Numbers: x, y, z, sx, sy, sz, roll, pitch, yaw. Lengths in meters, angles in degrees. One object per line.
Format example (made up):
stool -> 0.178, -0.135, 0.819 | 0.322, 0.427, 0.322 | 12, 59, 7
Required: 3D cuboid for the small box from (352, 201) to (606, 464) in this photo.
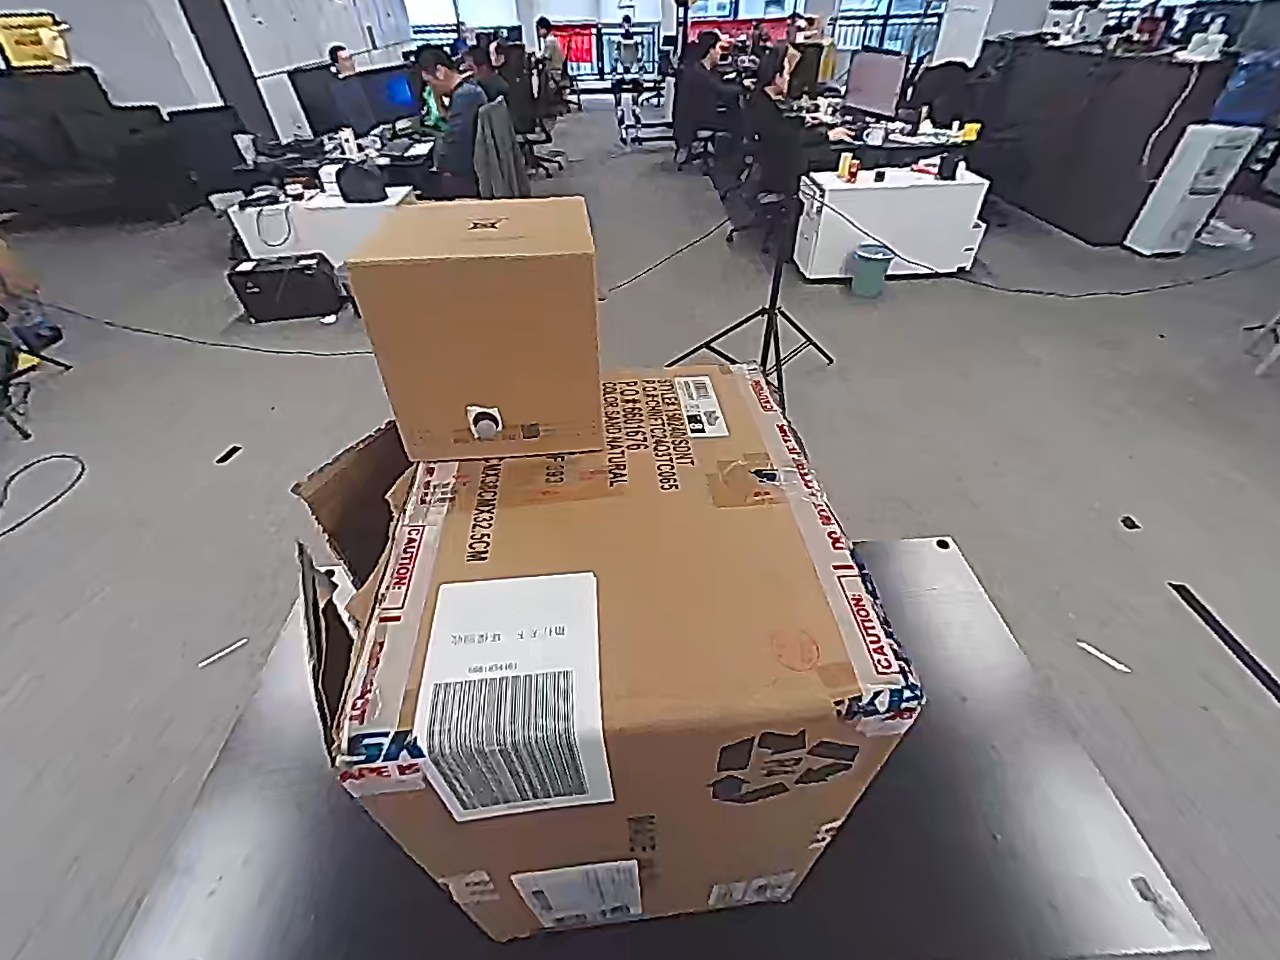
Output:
small box -> -0.120, -0.134, 0.476 | 0.168, 0.176, 0.179 | -6, 40, -6
